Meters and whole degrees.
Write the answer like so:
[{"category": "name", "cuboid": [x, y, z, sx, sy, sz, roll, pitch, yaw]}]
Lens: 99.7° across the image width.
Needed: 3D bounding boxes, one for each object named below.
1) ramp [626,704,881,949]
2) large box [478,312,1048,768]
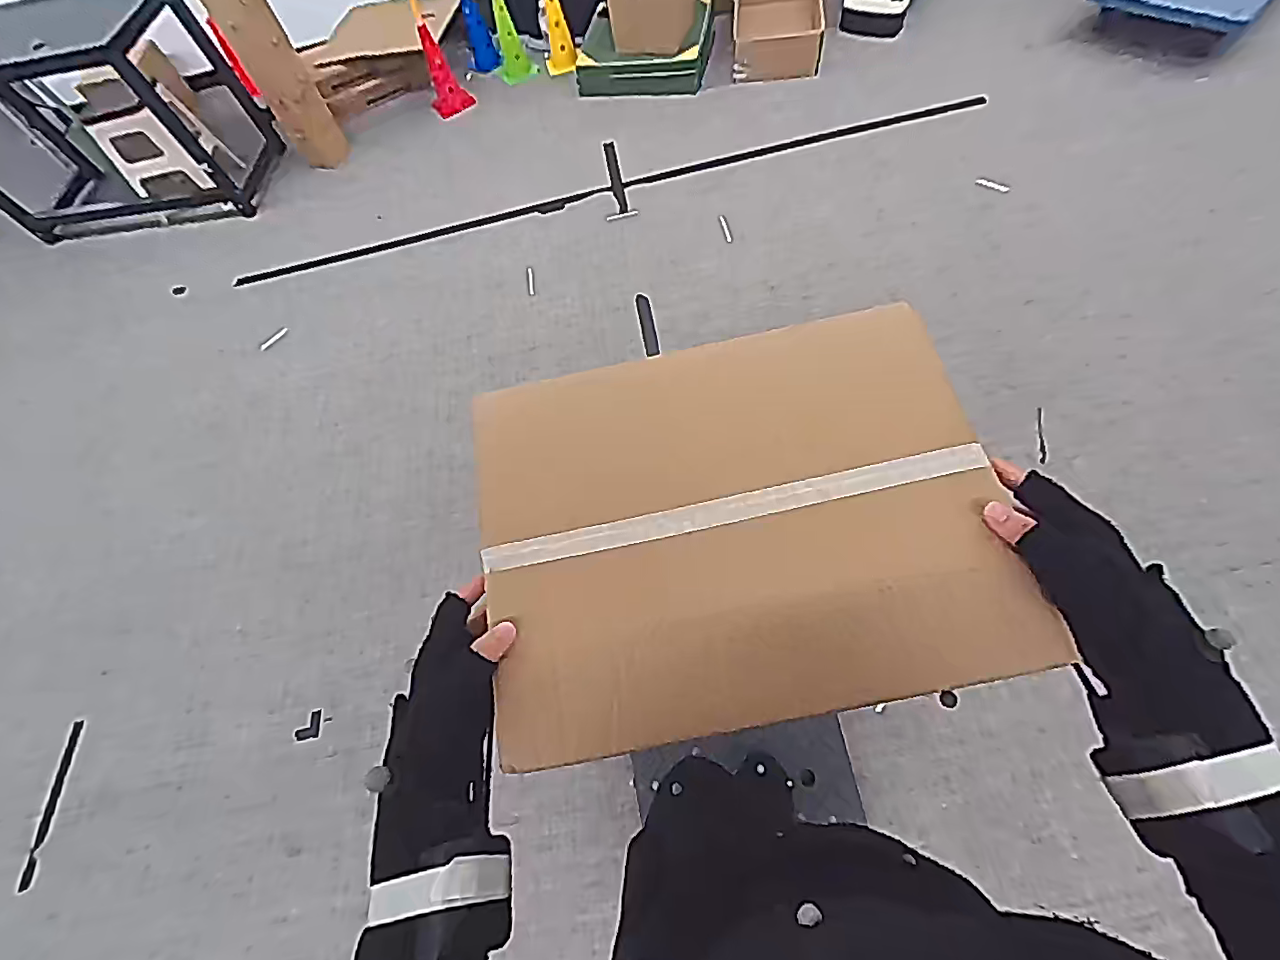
[{"category": "ramp", "cuboid": [0.190, 0.491, 1.301, 0.509, 0.206, 0.991, -13, 63, 0]}, {"category": "large box", "cuboid": [0.087, 0.078, 0.580, 0.408, 0.320, 0.320, -12, 68, 1]}]
